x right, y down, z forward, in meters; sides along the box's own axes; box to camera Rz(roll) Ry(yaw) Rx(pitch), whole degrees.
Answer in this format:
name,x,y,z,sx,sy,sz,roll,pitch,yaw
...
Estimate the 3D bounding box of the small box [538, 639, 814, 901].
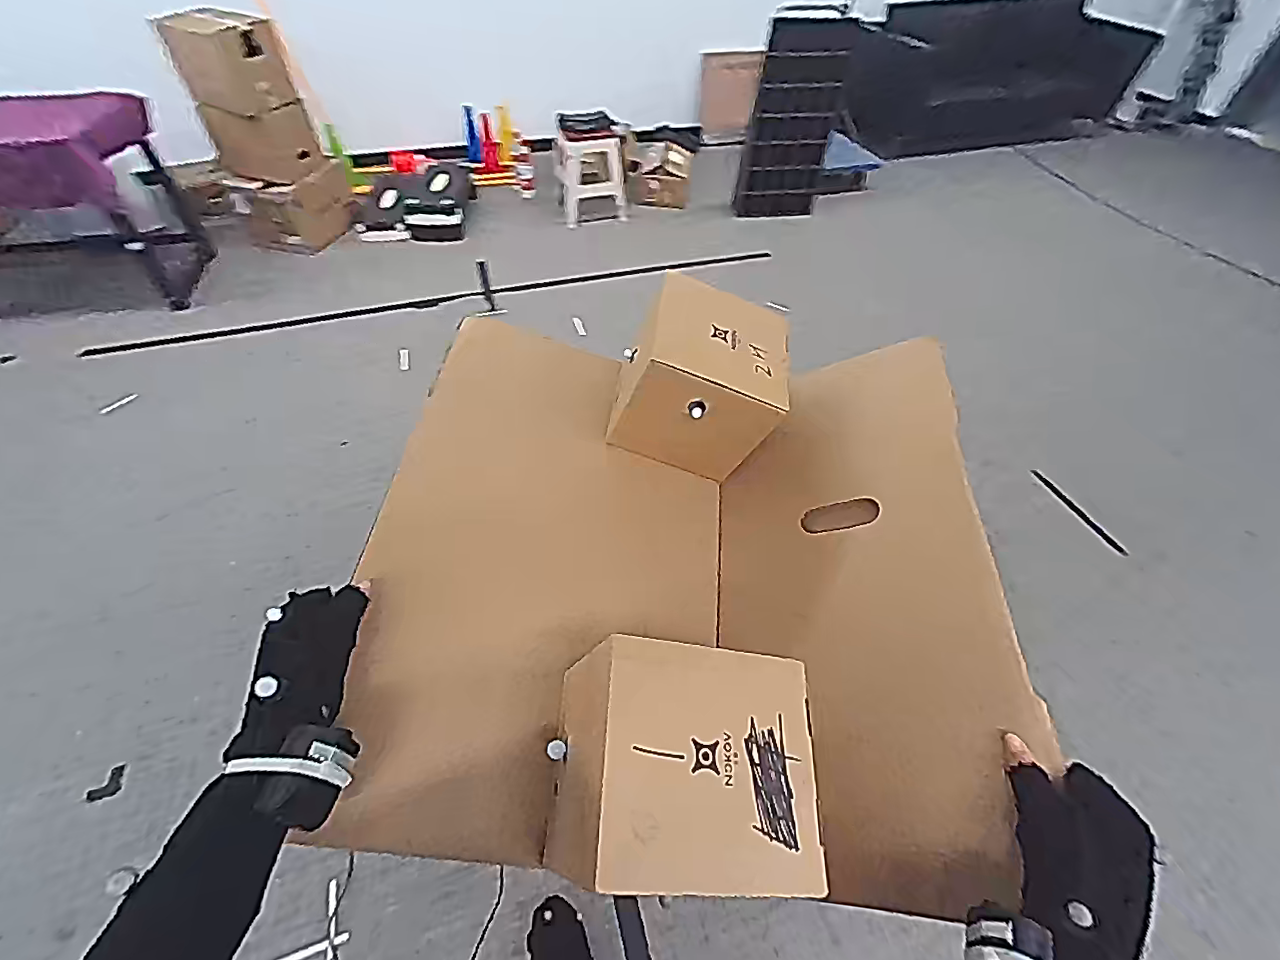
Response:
name,x,y,z,sx,sy,sz,roll,pitch,yaw
small box,0.022,0.250,0.471,0.179,0.176,0.168,13,57,-15
